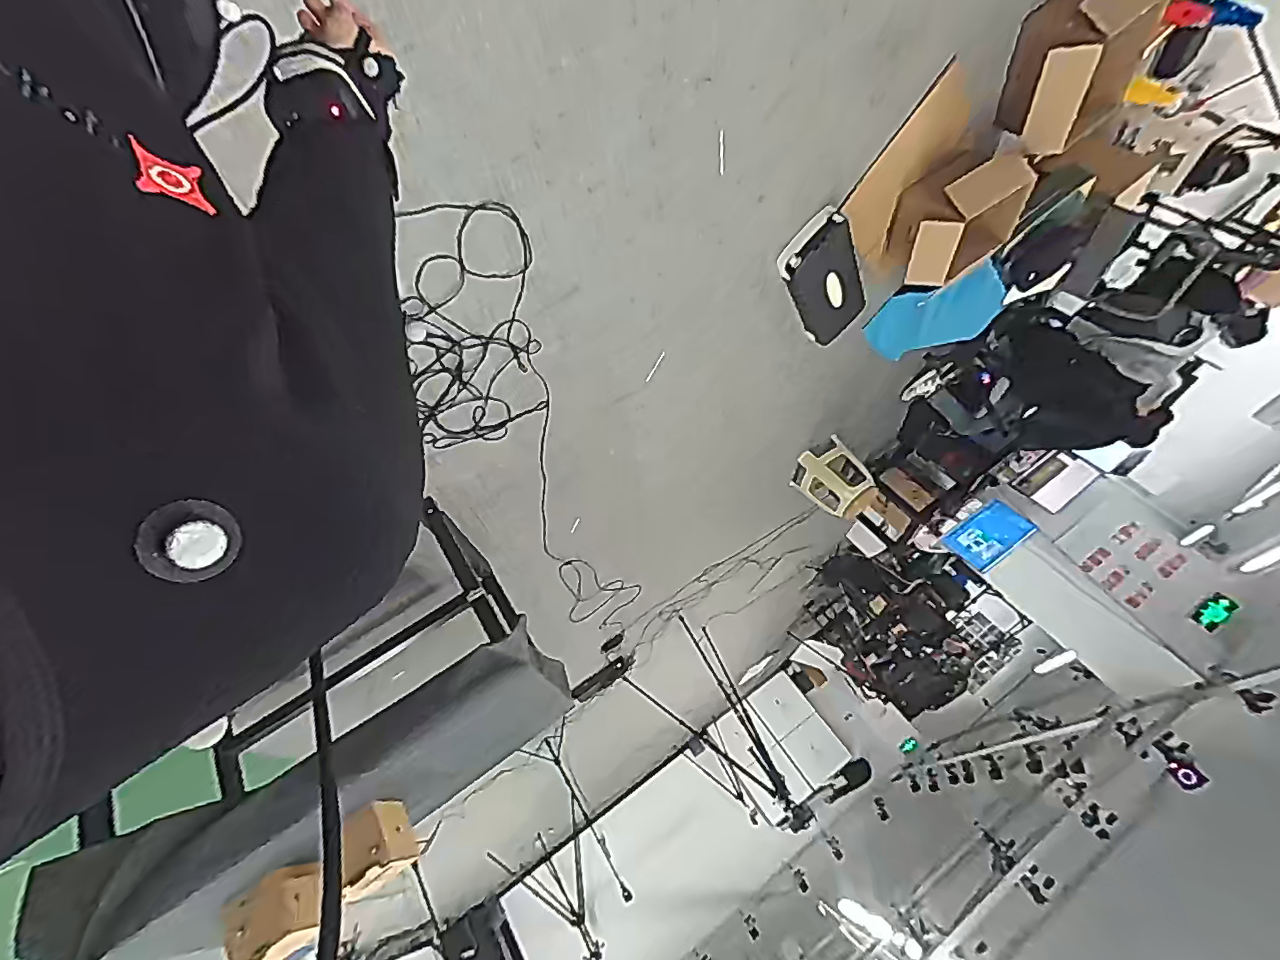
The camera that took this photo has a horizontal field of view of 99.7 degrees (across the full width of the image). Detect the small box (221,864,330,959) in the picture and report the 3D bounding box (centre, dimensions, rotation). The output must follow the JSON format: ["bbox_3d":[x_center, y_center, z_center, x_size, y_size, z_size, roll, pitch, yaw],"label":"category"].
[{"bbox_3d":[-0.989,1.182,1.466,0.168,0.176,0.179,-32,151,-12],"label":"small box"}]
